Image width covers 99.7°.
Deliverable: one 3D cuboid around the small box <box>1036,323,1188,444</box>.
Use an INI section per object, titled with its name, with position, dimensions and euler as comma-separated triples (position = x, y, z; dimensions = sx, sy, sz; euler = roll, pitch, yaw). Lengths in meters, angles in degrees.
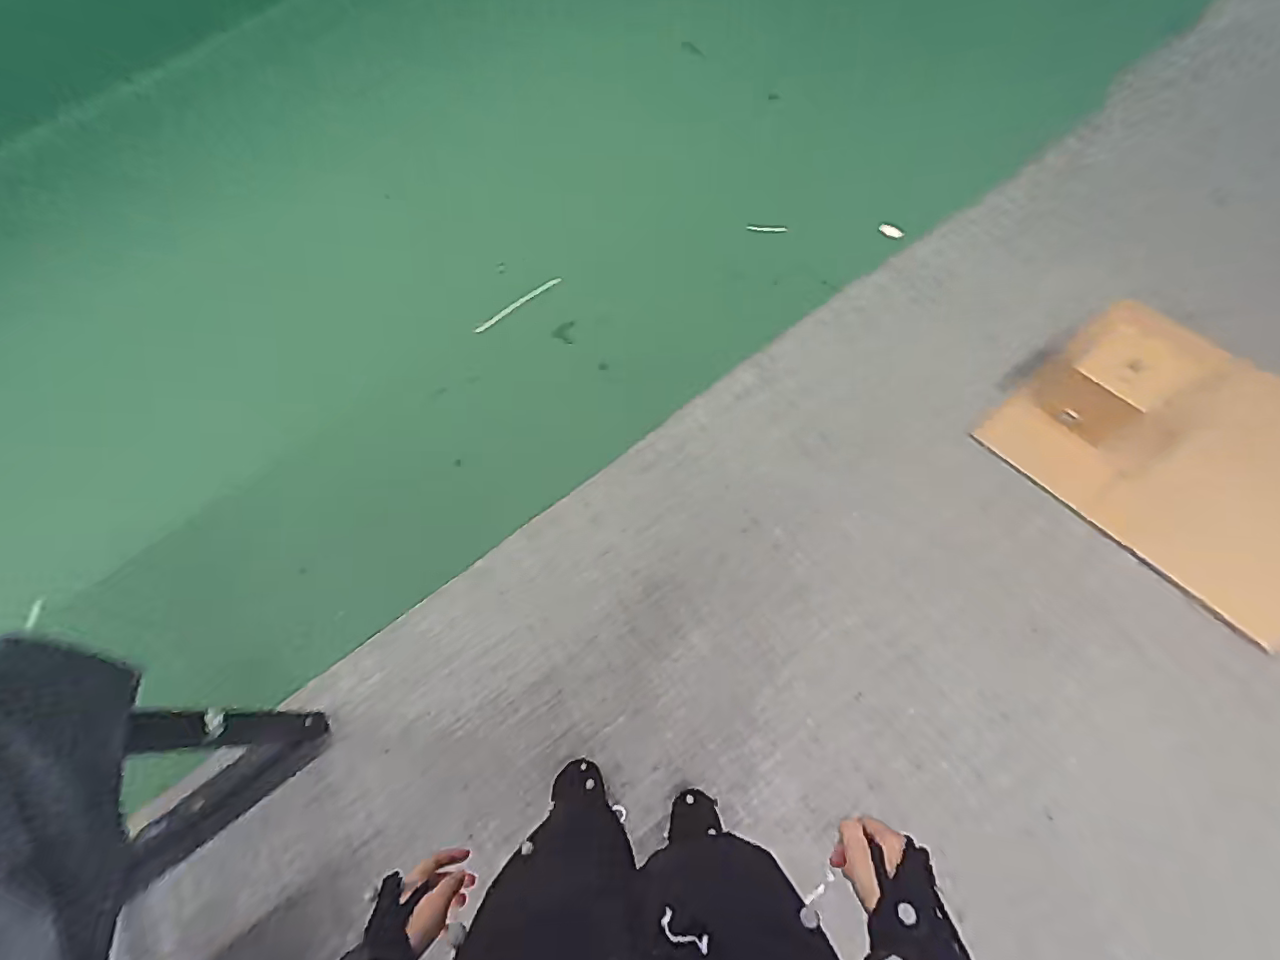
[small box]
position = 1.076, -0.218, 1.252
dimensions = 0.179, 0.176, 0.168
euler = -40, 65, -8
